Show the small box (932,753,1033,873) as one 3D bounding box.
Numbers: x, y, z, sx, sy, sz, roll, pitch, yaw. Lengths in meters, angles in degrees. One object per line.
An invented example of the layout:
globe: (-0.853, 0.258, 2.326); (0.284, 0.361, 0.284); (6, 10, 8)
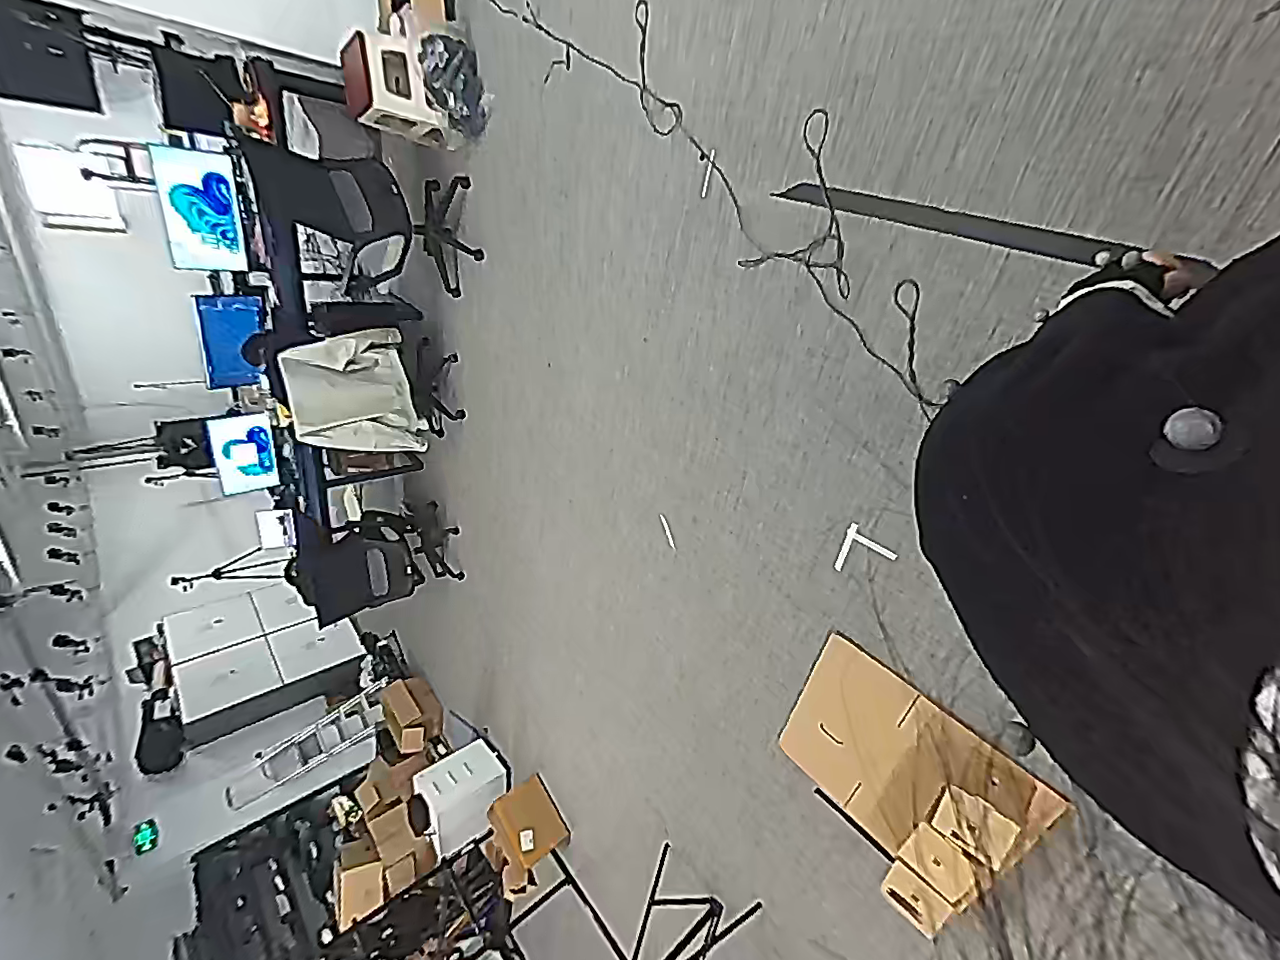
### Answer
small box: (0.910, 0.870, 1.433); (0.168, 0.176, 0.179); (26, 120, 40)
